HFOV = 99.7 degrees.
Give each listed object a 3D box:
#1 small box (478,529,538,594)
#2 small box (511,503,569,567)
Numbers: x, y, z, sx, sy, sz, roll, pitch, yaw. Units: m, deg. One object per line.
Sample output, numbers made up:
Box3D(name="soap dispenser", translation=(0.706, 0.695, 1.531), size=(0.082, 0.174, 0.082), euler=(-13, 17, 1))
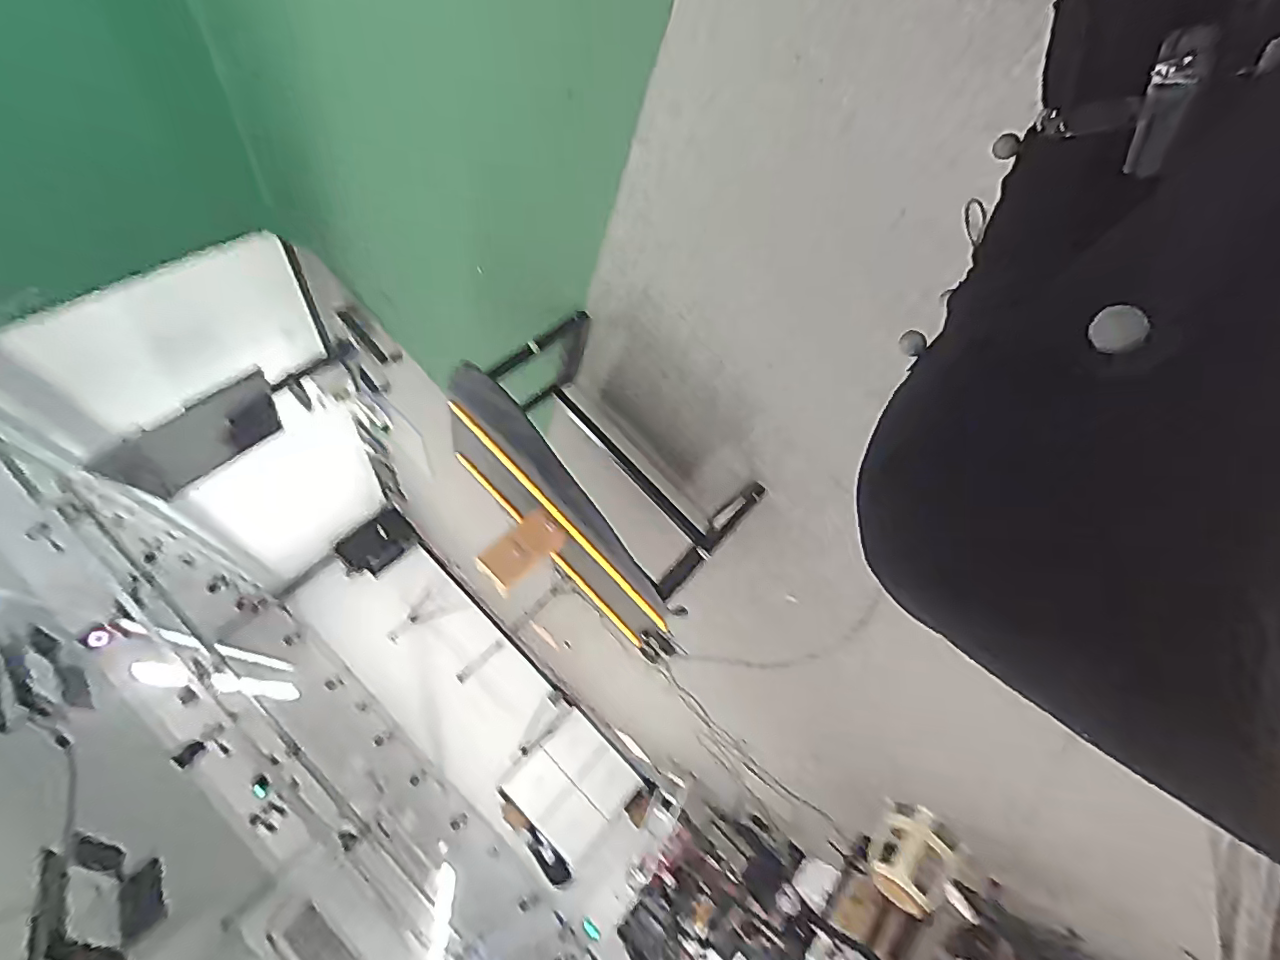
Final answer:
Box3D(name="small box", translation=(-0.523, 0.323, 2.147), size=(0.168, 0.176, 0.179), euler=(44, 152, 5))
Box3D(name="small box", translation=(-0.413, 0.224, 2.220), size=(0.168, 0.176, 0.179), euler=(44, 151, 6))
